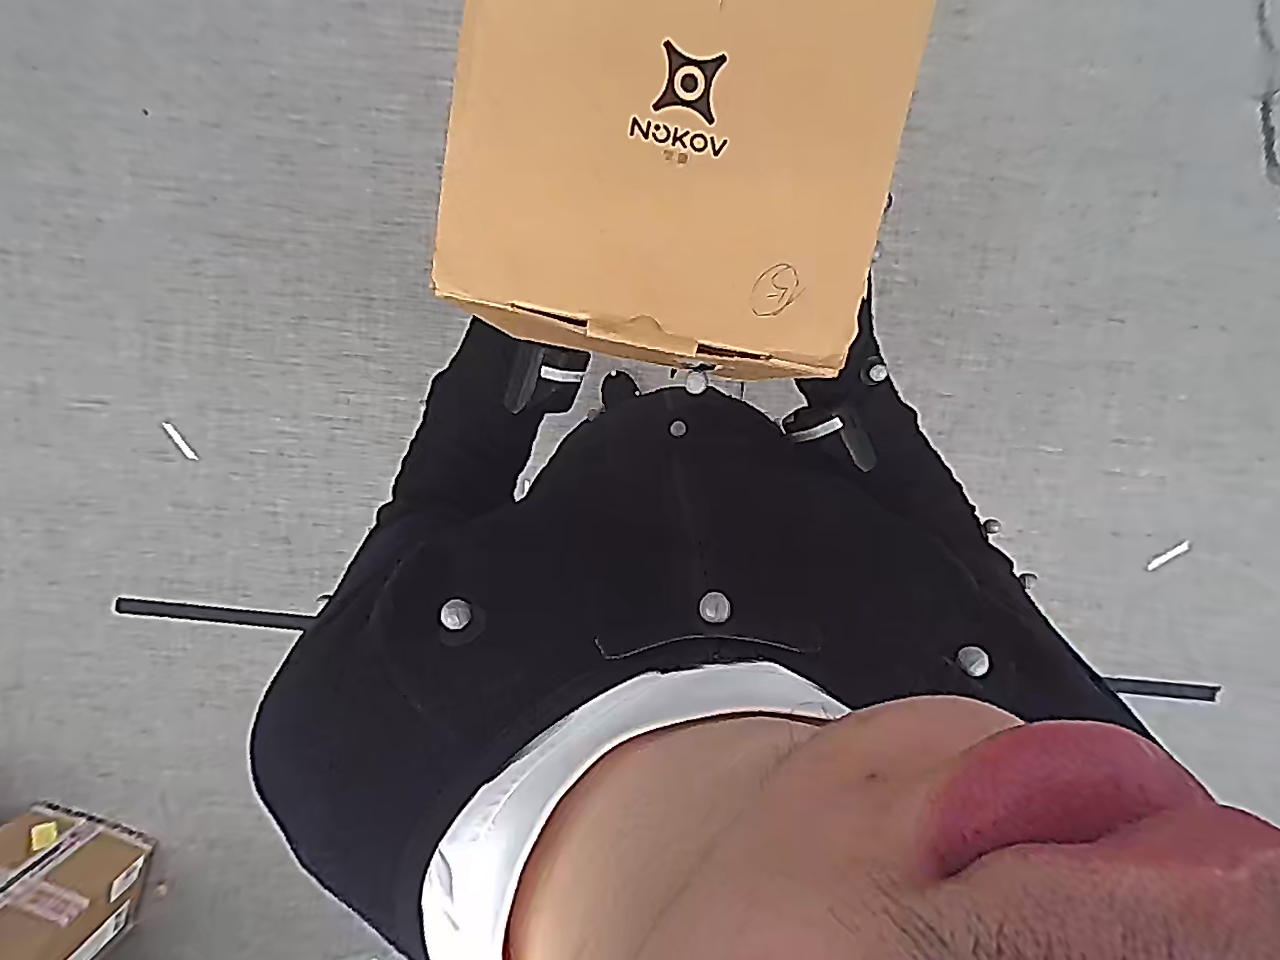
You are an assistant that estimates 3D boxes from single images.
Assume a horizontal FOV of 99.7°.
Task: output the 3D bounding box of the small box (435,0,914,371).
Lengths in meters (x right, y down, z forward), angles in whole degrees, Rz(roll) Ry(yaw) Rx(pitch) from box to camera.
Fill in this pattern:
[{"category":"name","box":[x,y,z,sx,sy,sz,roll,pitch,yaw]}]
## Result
[{"category":"small box","box":[0.009,-0.158,0.287,0.168,0.176,0.179,10,99,-6]}]
